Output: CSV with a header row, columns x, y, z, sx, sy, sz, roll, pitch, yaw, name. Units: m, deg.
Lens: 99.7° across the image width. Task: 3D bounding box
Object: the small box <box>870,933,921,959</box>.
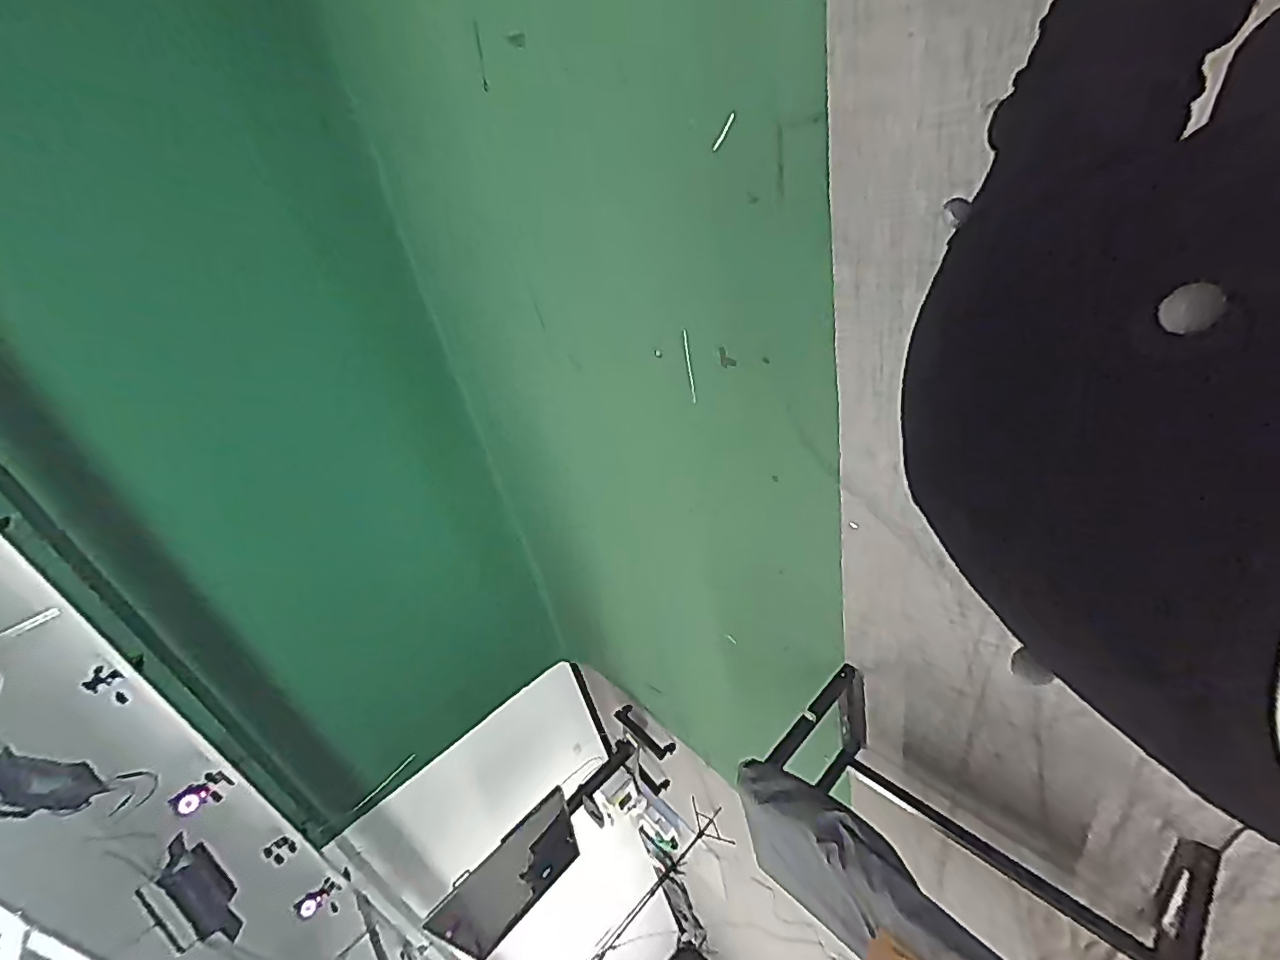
x,y,z,sx,sy,sz,roll,pitch,yaw,name
0.792,1.552,1.647,0.168,0.176,0.179,15,129,47,small box
